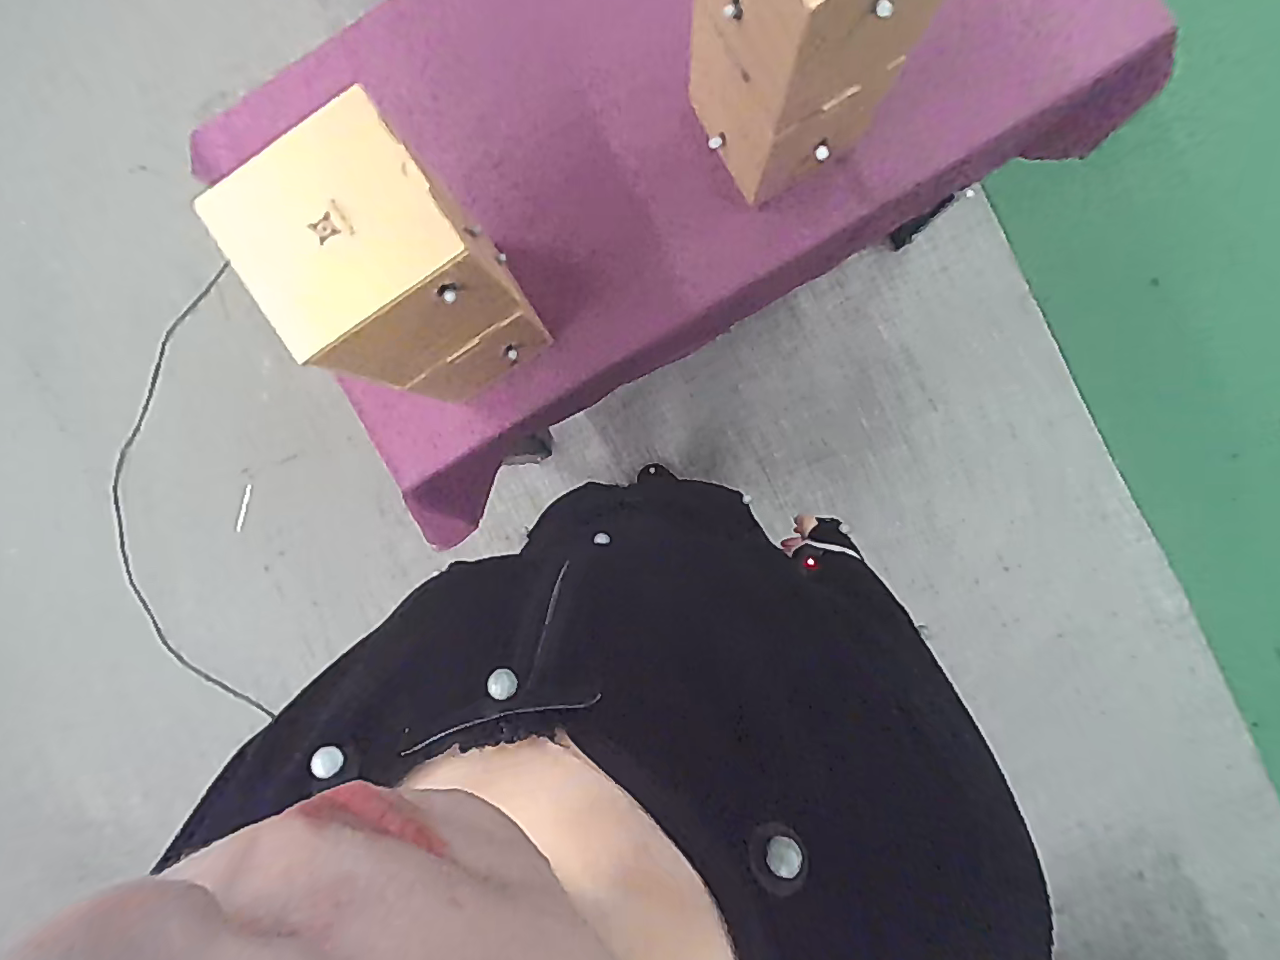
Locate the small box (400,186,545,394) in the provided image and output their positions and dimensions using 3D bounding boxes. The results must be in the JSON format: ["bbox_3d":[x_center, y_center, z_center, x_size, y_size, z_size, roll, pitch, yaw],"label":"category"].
[{"bbox_3d":[-0.243,-0.223,0.693,0.168,0.176,0.179,-31,90,3],"label":"small box"}]

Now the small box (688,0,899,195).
[{"bbox_3d":[0.170,-0.484,0.658,0.168,0.176,0.179,-30,92,4],"label":"small box"}]

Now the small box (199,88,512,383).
[{"bbox_3d":[-0.255,-0.214,0.531,0.179,0.176,0.168,-33,91,2],"label":"small box"}]

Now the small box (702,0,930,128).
[{"bbox_3d":[0.165,-0.475,0.493,0.179,0.176,0.168,-30,91,4],"label":"small box"}]
